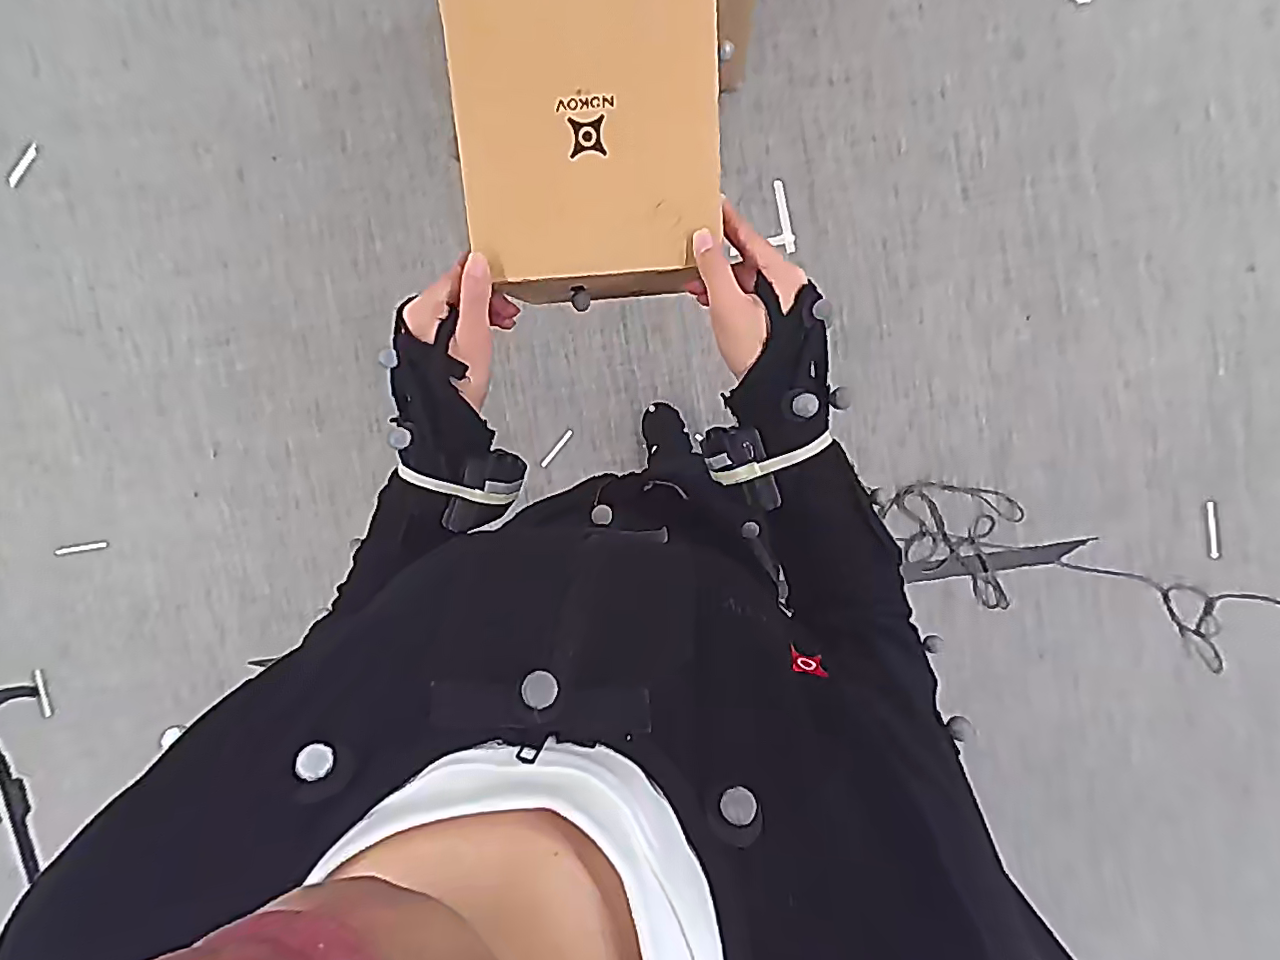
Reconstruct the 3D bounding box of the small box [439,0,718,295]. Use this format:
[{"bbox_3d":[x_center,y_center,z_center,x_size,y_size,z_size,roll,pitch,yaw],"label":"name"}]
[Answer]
[{"bbox_3d":[-0.031,-0.240,0.411,0.168,0.176,0.179,-4,102,2],"label":"small box"}]
